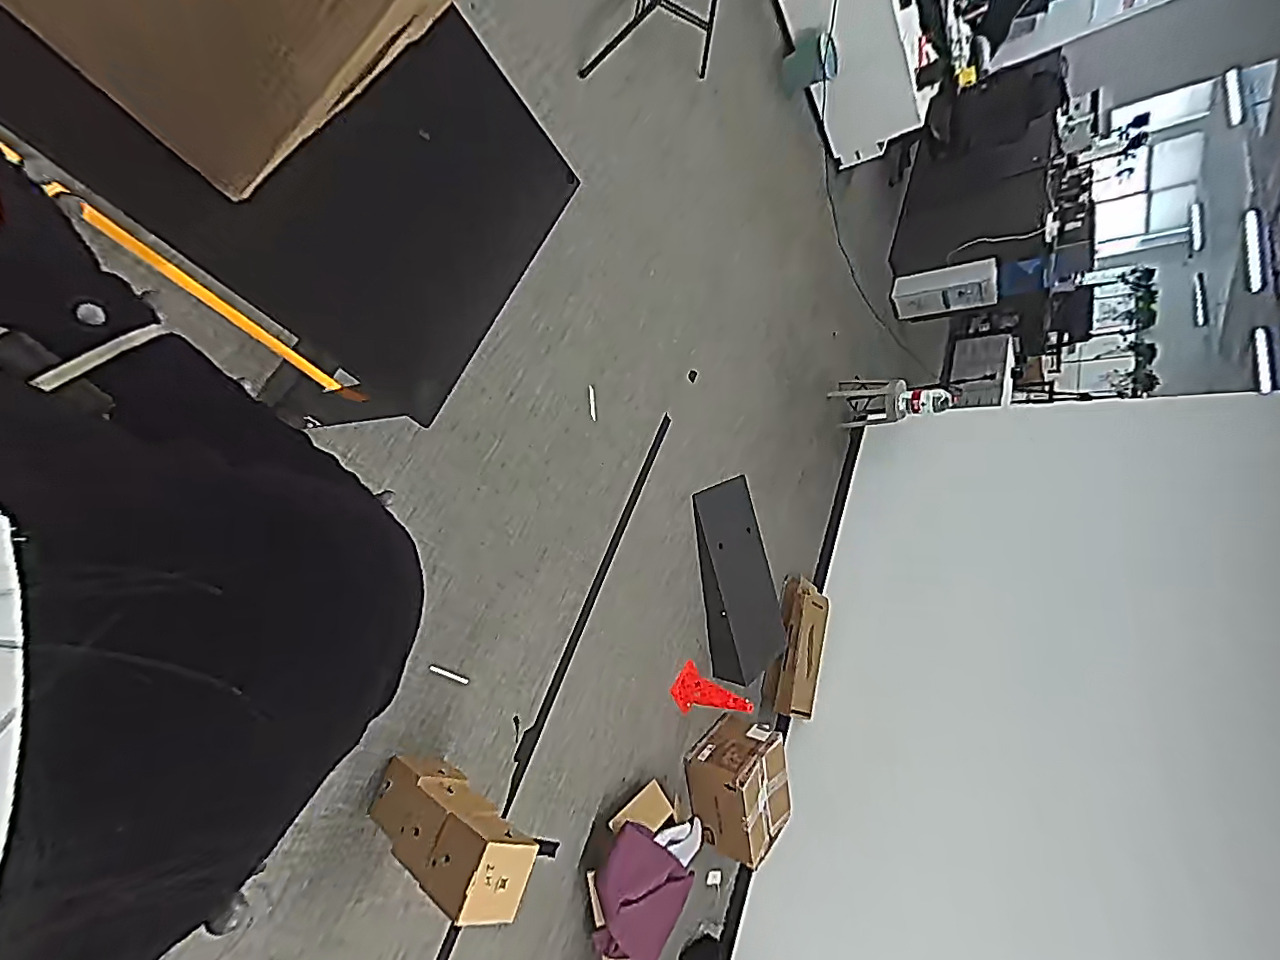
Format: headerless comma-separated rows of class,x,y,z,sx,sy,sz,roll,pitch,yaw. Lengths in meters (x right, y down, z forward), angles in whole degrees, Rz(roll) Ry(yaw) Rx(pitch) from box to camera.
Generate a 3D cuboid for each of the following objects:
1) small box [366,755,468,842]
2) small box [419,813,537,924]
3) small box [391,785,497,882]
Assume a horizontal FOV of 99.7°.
small box,-0.632,0.900,1.532,0.179,0.176,0.168,36,64,-42
small box,-0.391,0.932,1.307,0.179,0.176,0.168,41,60,-41
small box,-0.515,0.919,1.417,0.179,0.176,0.168,35,65,-43
